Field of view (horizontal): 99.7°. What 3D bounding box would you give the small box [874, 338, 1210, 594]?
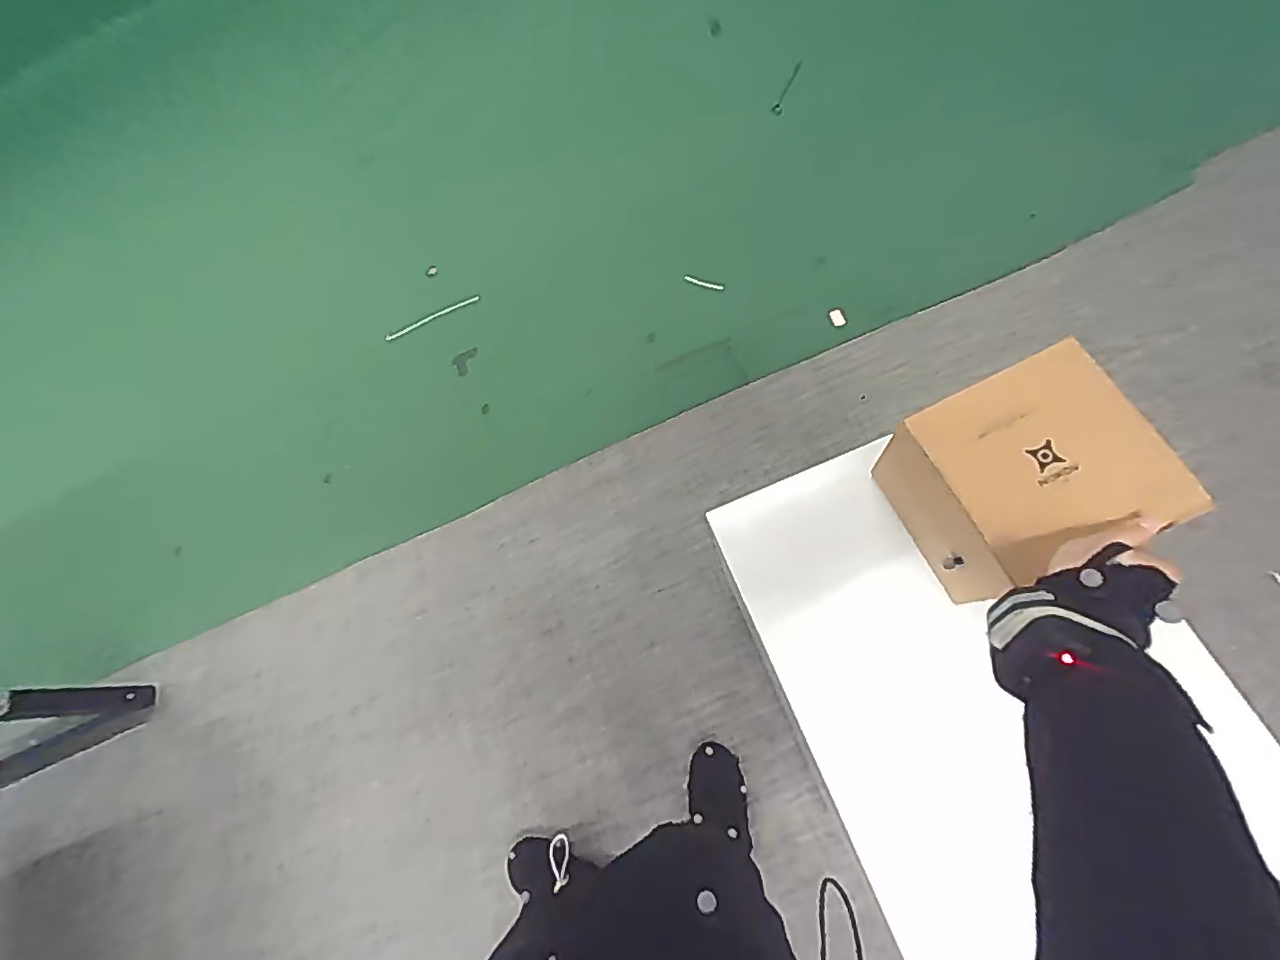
[{"bbox_3d":[0.362,0.002,0.533,0.168,0.176,0.179,-27,69,3],"label":"small box"}]
